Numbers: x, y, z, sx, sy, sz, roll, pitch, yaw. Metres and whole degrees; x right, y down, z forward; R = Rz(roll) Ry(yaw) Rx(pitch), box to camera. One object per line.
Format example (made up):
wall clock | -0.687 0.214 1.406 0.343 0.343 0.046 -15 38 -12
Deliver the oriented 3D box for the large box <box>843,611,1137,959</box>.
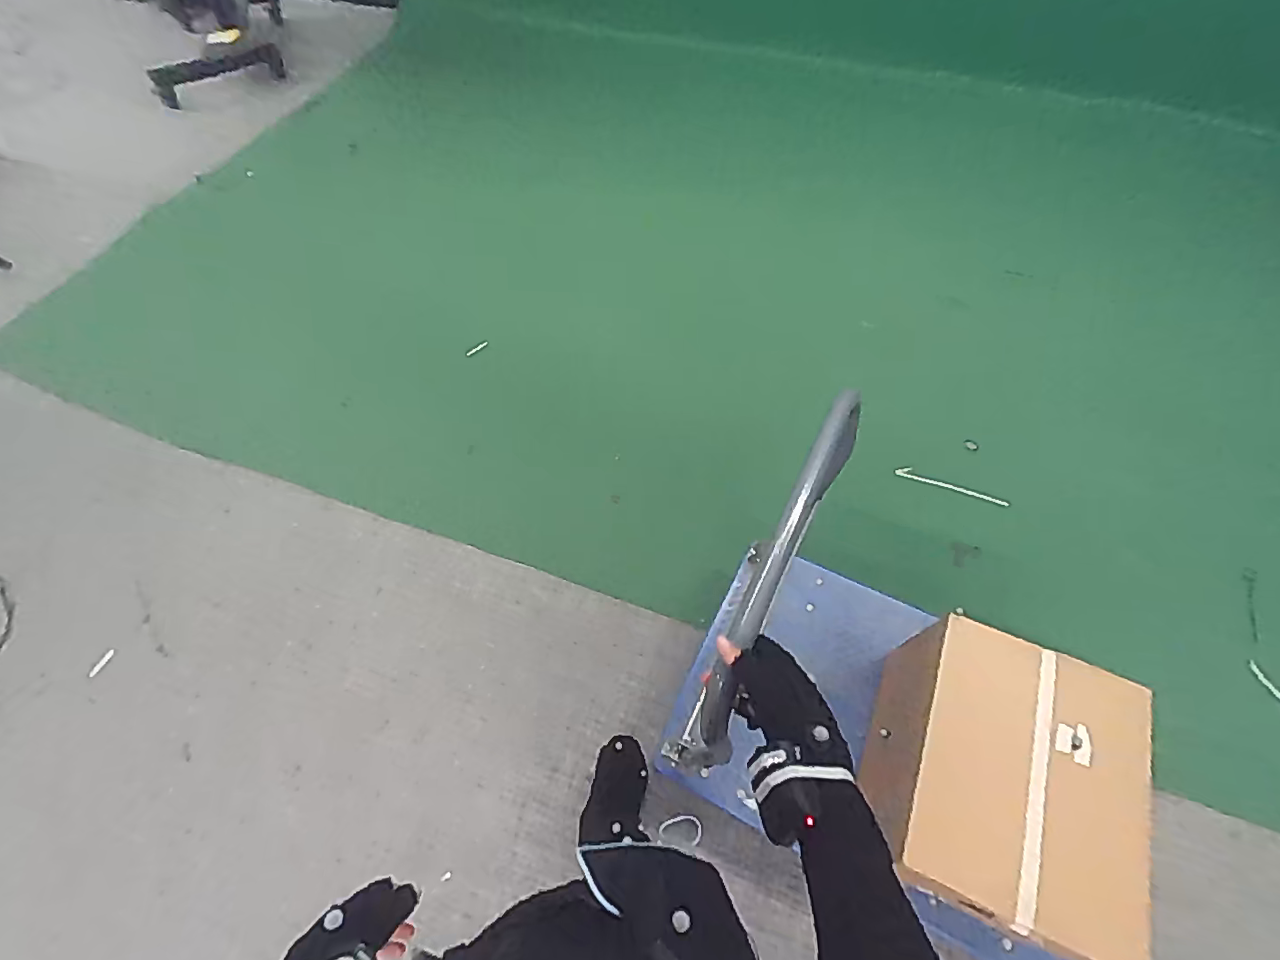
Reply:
large box | 0.593 0.517 0.958 0.320 0.320 0.408 21 61 14
